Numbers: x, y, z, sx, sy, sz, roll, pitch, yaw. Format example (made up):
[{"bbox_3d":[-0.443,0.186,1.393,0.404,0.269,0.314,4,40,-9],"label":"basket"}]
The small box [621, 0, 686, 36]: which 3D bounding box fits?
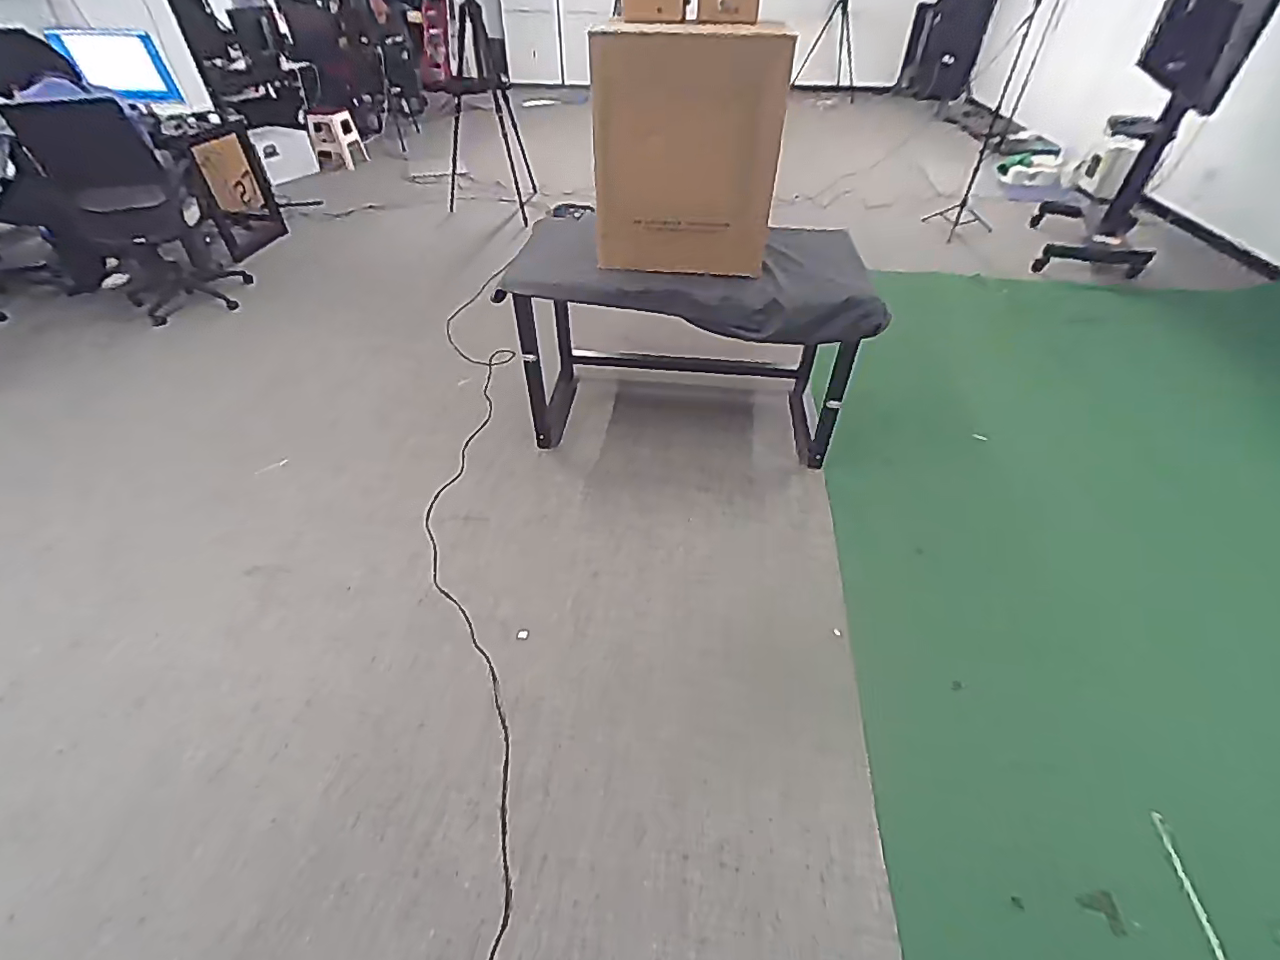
[{"bbox_3d":[0.039,-1.339,1.488,0.168,0.176,0.179,4,41,6],"label":"small box"}]
